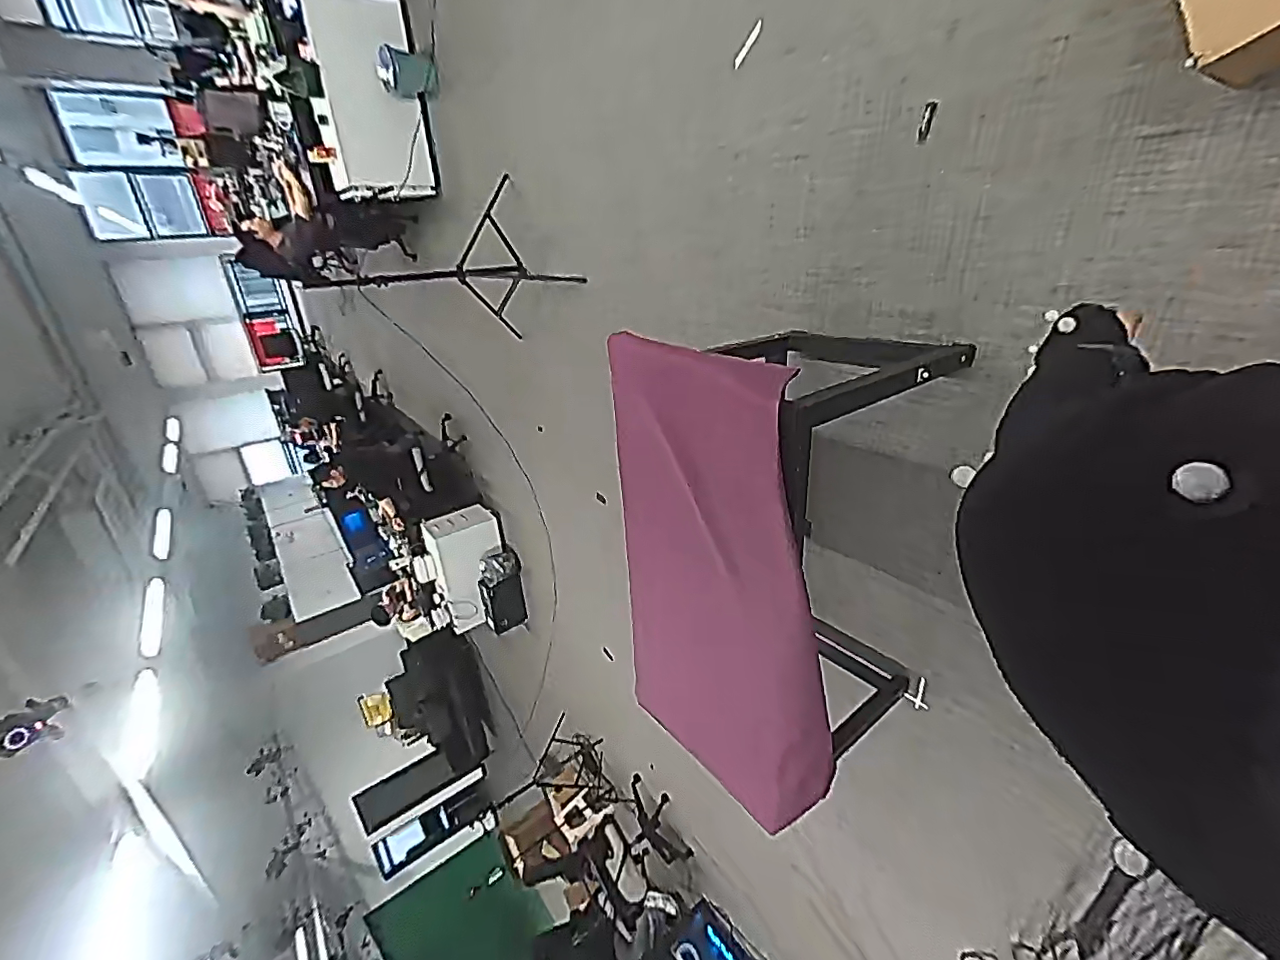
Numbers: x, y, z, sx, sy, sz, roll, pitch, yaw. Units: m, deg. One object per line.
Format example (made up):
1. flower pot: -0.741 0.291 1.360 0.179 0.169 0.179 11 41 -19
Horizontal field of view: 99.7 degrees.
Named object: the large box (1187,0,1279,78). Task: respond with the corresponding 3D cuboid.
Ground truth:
1. large box: 0.971 -0.800 0.664 0.408 0.320 0.320 -14 94 59
